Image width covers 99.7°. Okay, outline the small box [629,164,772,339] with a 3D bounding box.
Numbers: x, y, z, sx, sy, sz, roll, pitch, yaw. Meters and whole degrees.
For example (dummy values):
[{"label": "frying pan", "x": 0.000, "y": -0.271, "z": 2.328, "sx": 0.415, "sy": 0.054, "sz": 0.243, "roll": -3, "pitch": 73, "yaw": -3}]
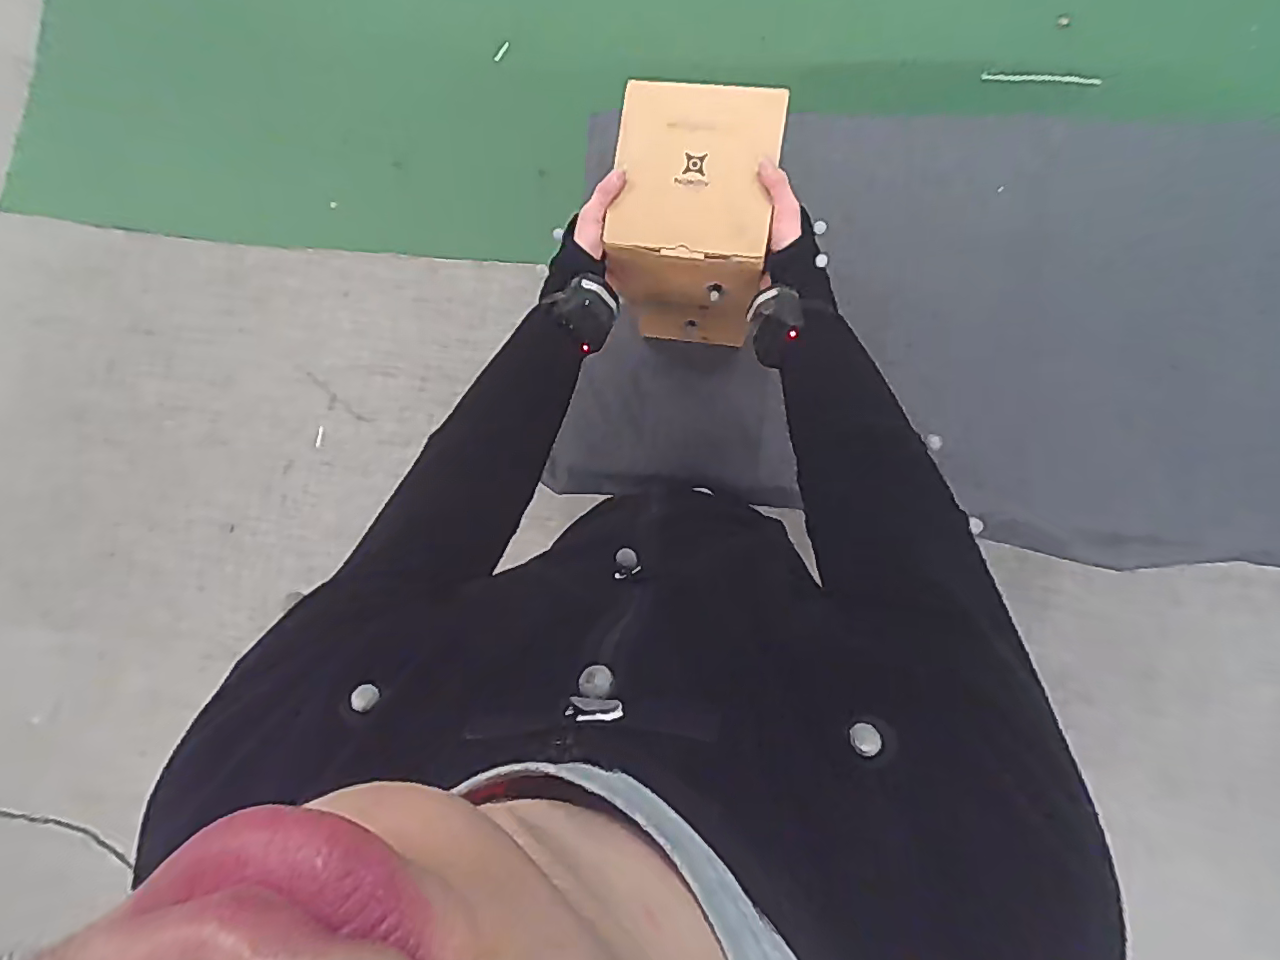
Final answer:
[{"label": "small box", "x": 0.087, "y": -0.316, "z": 0.779, "sx": 0.168, "sy": 0.176, "sz": 0.179, "roll": 8, "pitch": 87, "yaw": 6}]
